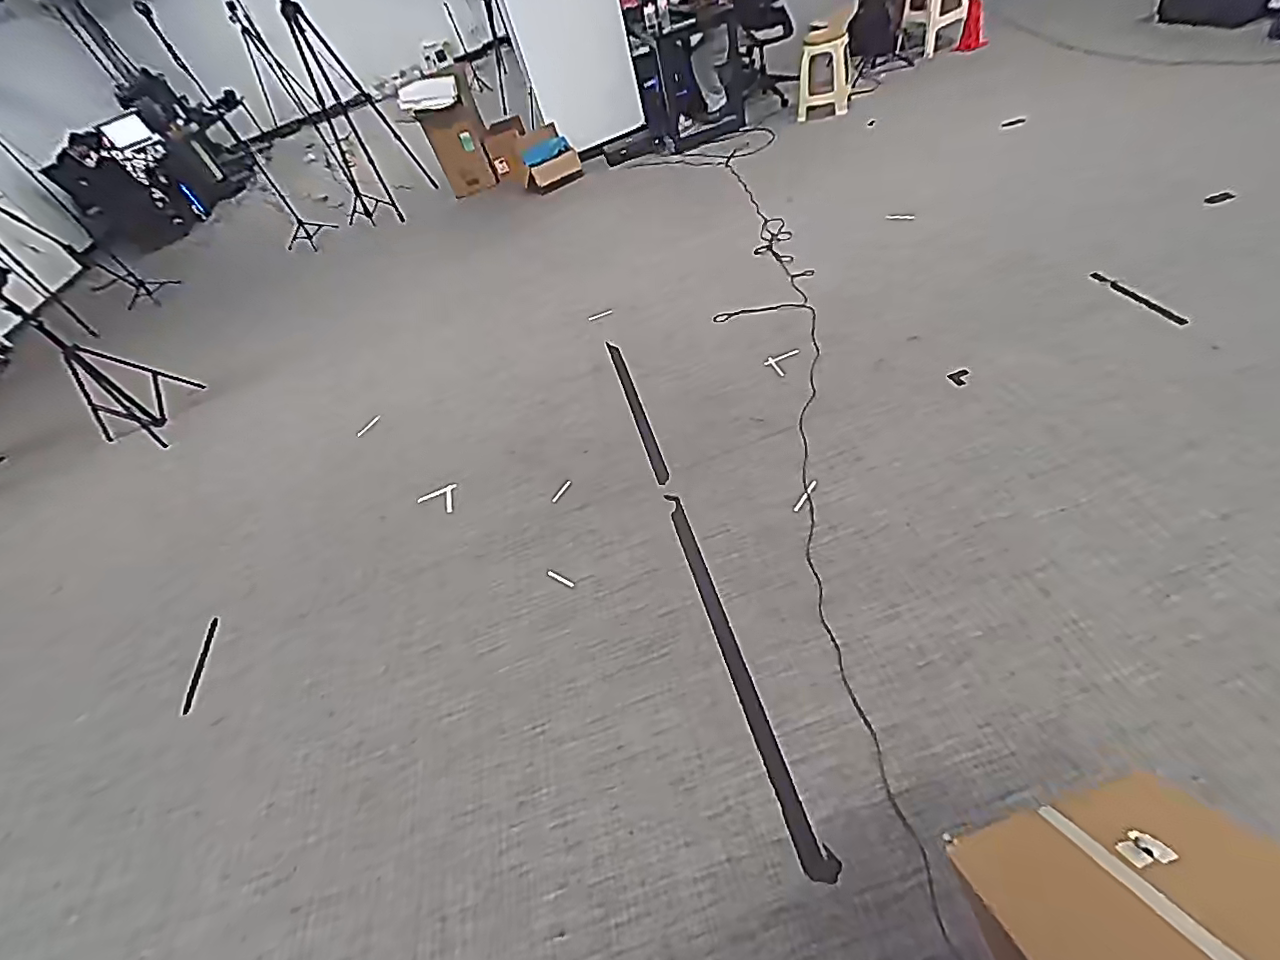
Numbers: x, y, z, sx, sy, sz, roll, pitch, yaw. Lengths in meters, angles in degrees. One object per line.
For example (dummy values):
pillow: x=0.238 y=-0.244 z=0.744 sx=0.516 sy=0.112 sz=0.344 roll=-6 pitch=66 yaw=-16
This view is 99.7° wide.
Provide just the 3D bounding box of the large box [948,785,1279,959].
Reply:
large box: x=0.644 y=0.629 z=0.594 sx=0.320 sy=0.408 sz=0.320 roll=-22 pitch=83 yaw=3
